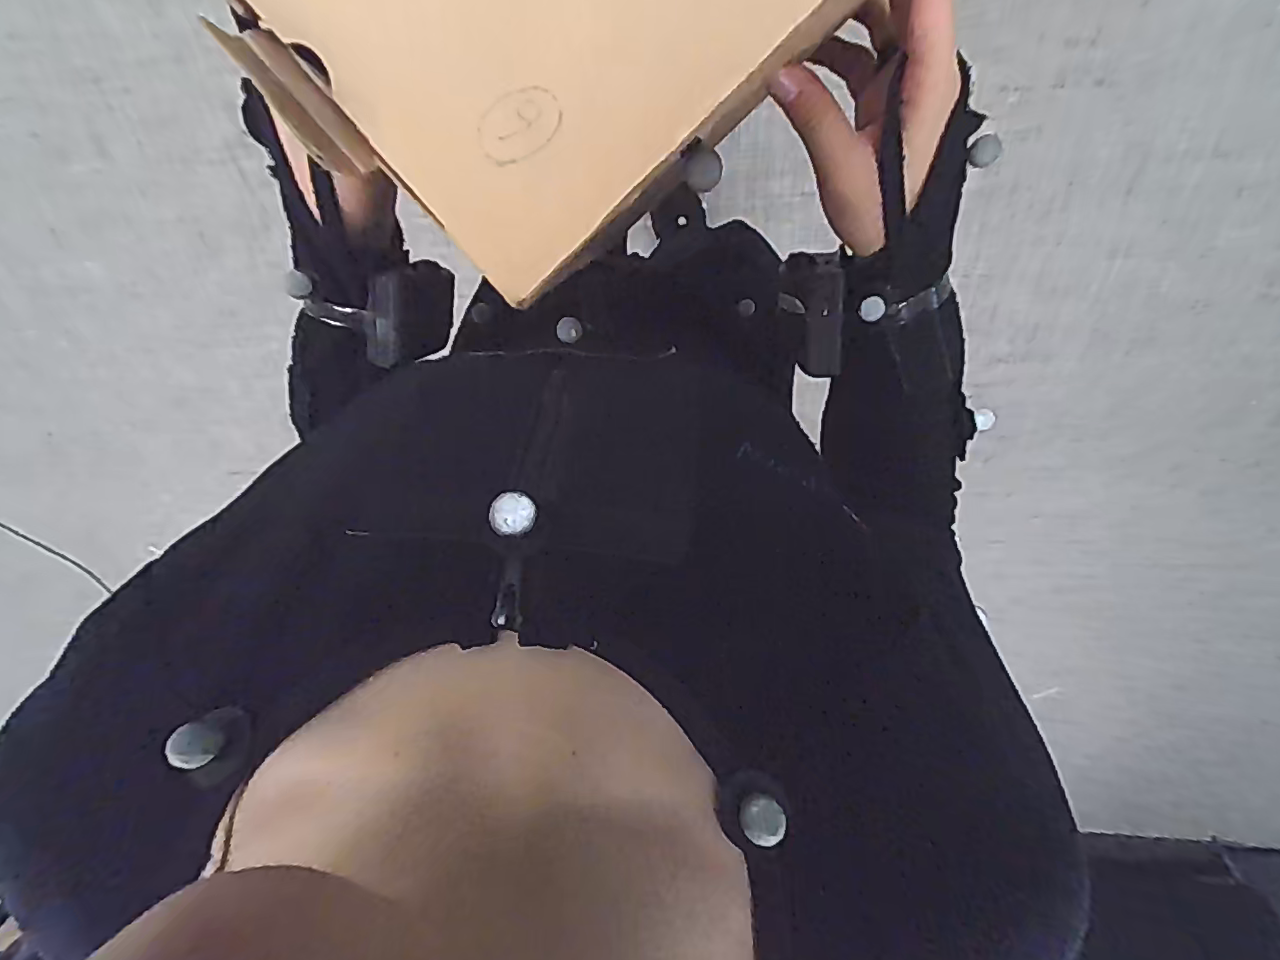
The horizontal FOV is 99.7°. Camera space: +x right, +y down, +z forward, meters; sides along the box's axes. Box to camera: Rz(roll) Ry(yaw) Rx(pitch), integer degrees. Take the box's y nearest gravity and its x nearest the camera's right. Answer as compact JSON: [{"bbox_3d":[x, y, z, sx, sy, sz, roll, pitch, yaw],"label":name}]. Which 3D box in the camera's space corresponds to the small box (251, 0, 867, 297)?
[{"bbox_3d":[-0.017,-0.202,0.203,0.179,0.176,0.168,-36,109,24],"label":"small box"}]
